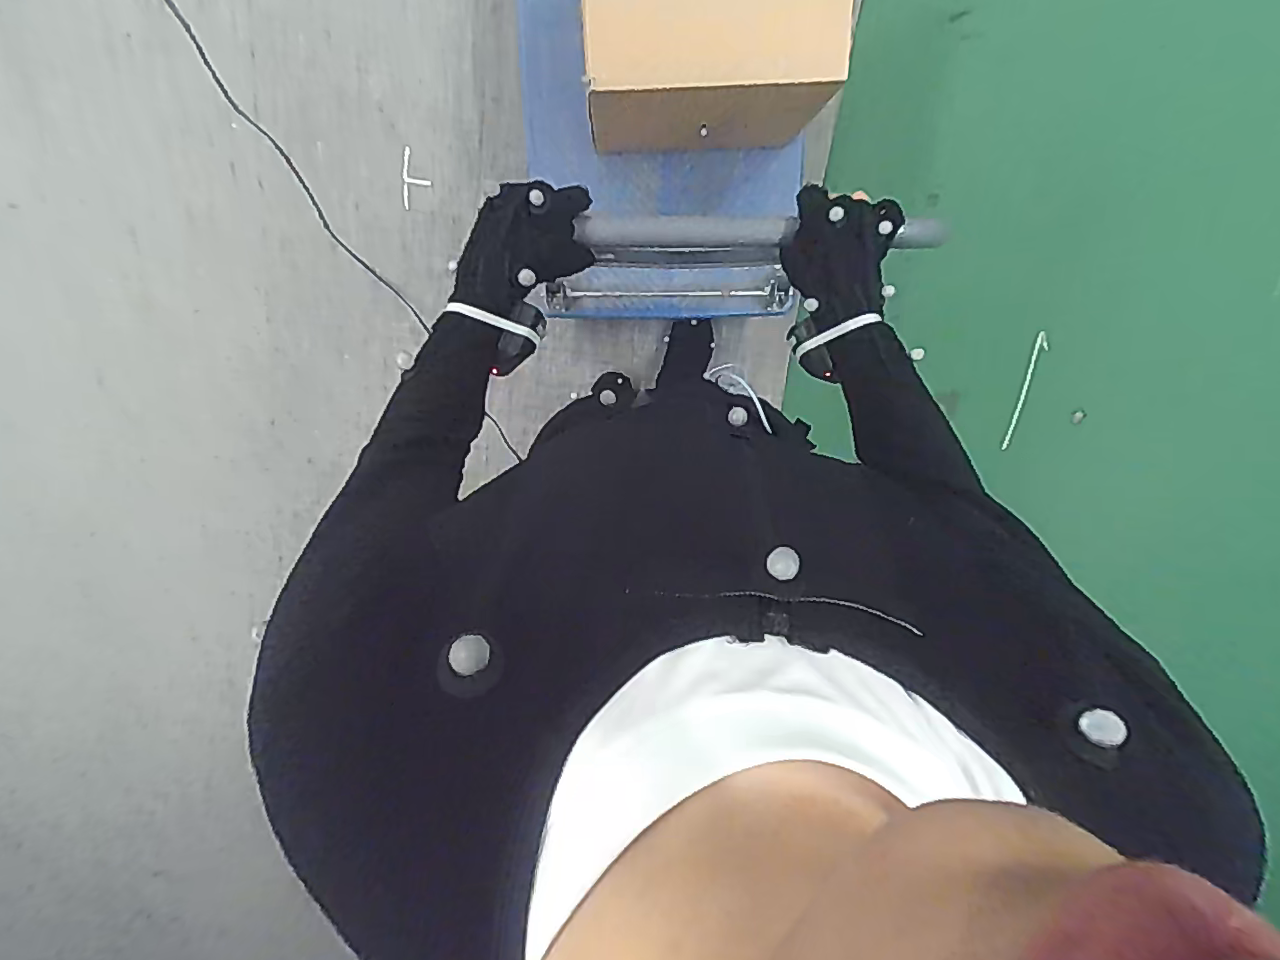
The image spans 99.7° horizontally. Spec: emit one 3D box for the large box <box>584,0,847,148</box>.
[{"bbox_3d":[0.113,-0.809,0.947,0.408,0.320,0.320,-4,106,0],"label":"large box"}]
